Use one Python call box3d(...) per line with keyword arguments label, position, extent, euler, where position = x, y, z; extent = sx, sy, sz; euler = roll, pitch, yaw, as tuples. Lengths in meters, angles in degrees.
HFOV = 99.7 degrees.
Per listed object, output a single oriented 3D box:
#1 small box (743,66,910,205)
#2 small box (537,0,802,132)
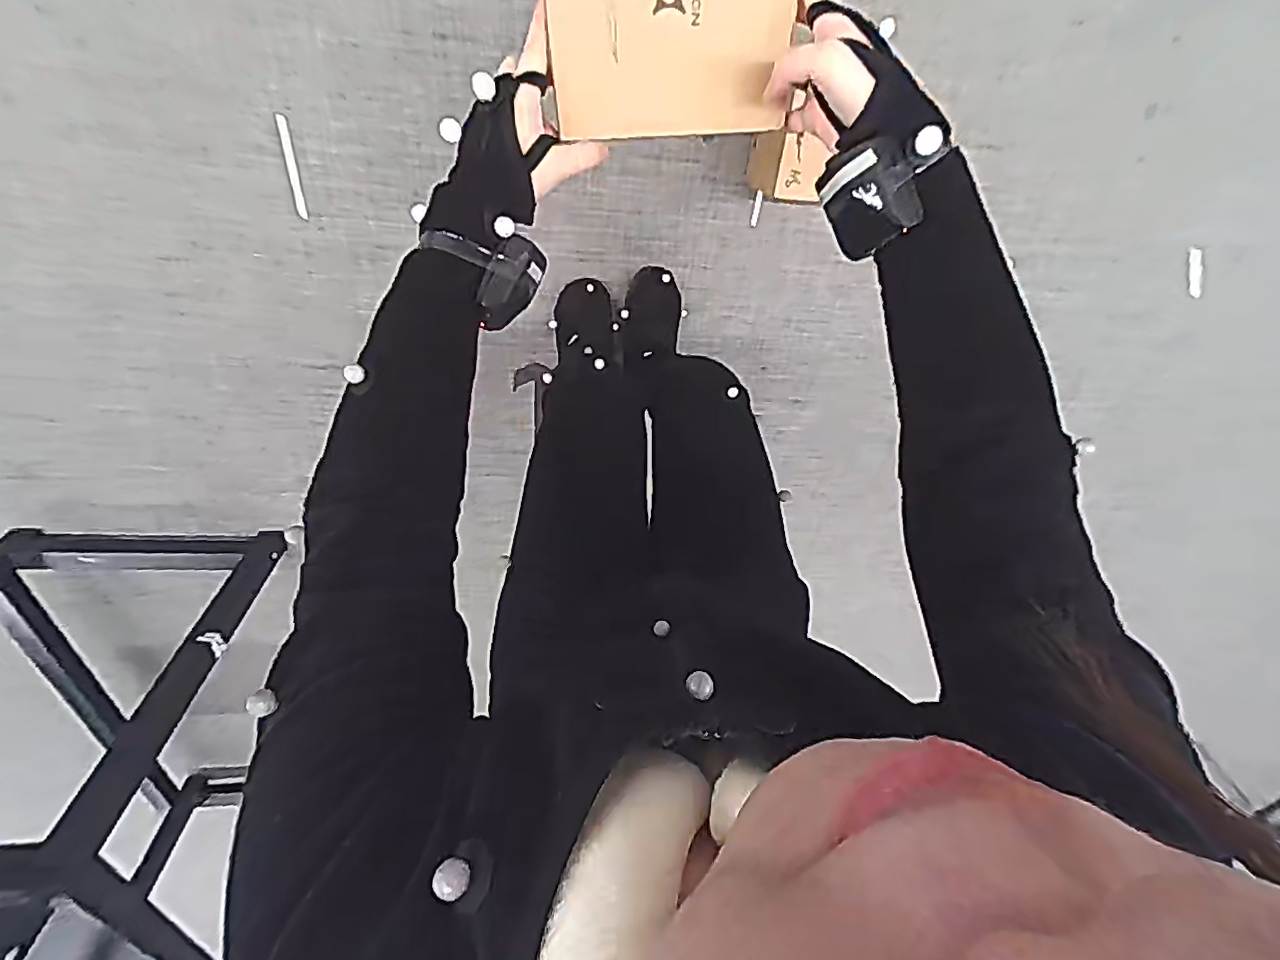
box3d(label="small box", position=(0.287, -0.557, 0.873), extent=(0.179, 0.176, 0.168), euler=(0, 126, -9))
box3d(label="small box", position=(0.012, -0.368, 0.402), extent=(0.179, 0.176, 0.168), euler=(-5, 129, -5))
